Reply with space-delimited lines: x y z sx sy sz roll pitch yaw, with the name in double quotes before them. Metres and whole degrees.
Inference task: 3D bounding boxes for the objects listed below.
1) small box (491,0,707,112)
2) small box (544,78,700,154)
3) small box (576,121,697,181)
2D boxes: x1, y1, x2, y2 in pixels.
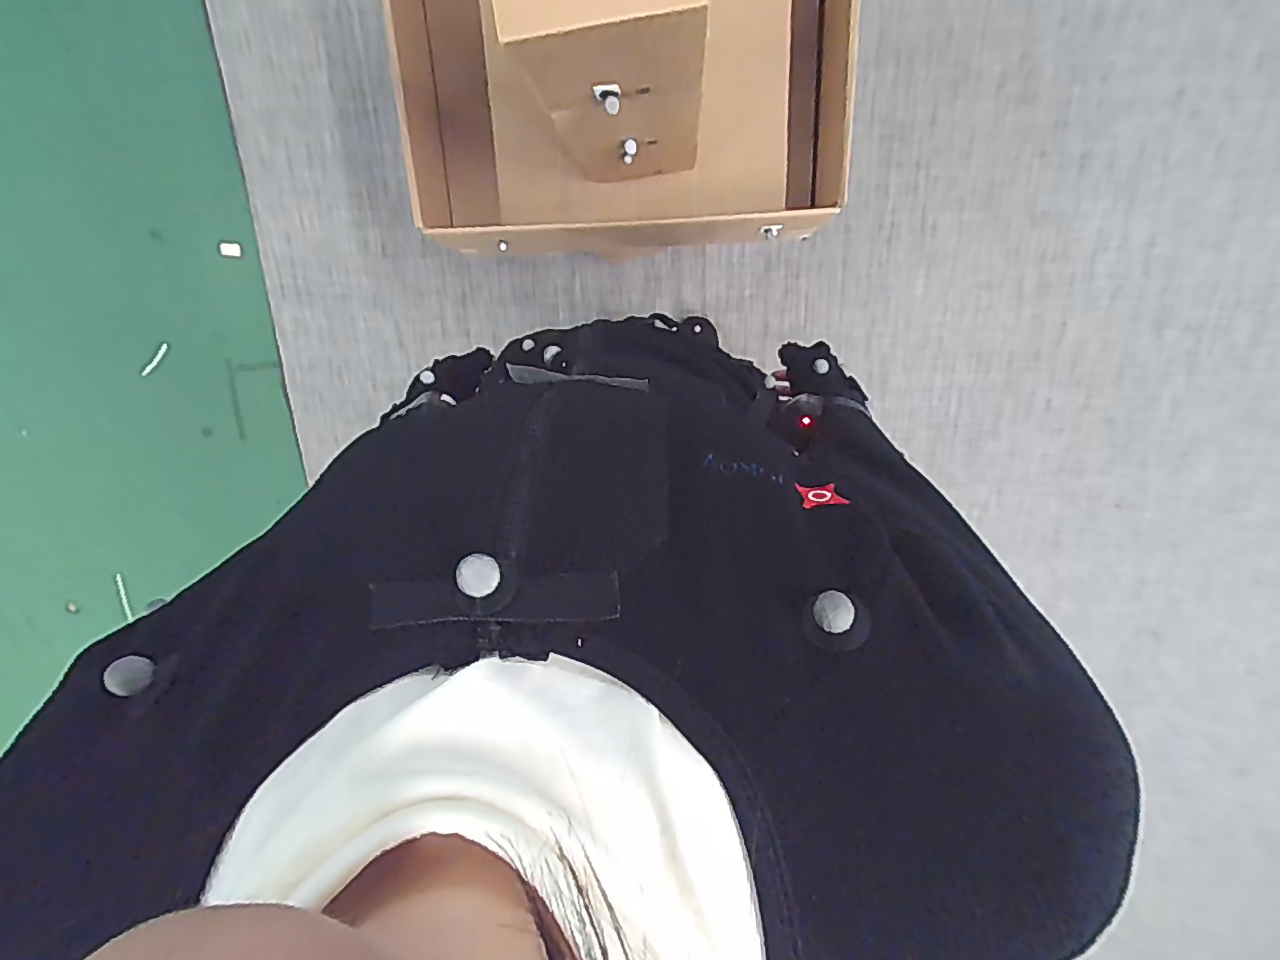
"small box" -0.034 -0.454 0.464 0.168 0.176 0.179 -5 107 7
"small box" -0.023 -0.502 0.617 0.168 0.176 0.179 -5 107 6
"small box" -0.009 -0.554 0.772 0.168 0.176 0.179 -5 106 7
